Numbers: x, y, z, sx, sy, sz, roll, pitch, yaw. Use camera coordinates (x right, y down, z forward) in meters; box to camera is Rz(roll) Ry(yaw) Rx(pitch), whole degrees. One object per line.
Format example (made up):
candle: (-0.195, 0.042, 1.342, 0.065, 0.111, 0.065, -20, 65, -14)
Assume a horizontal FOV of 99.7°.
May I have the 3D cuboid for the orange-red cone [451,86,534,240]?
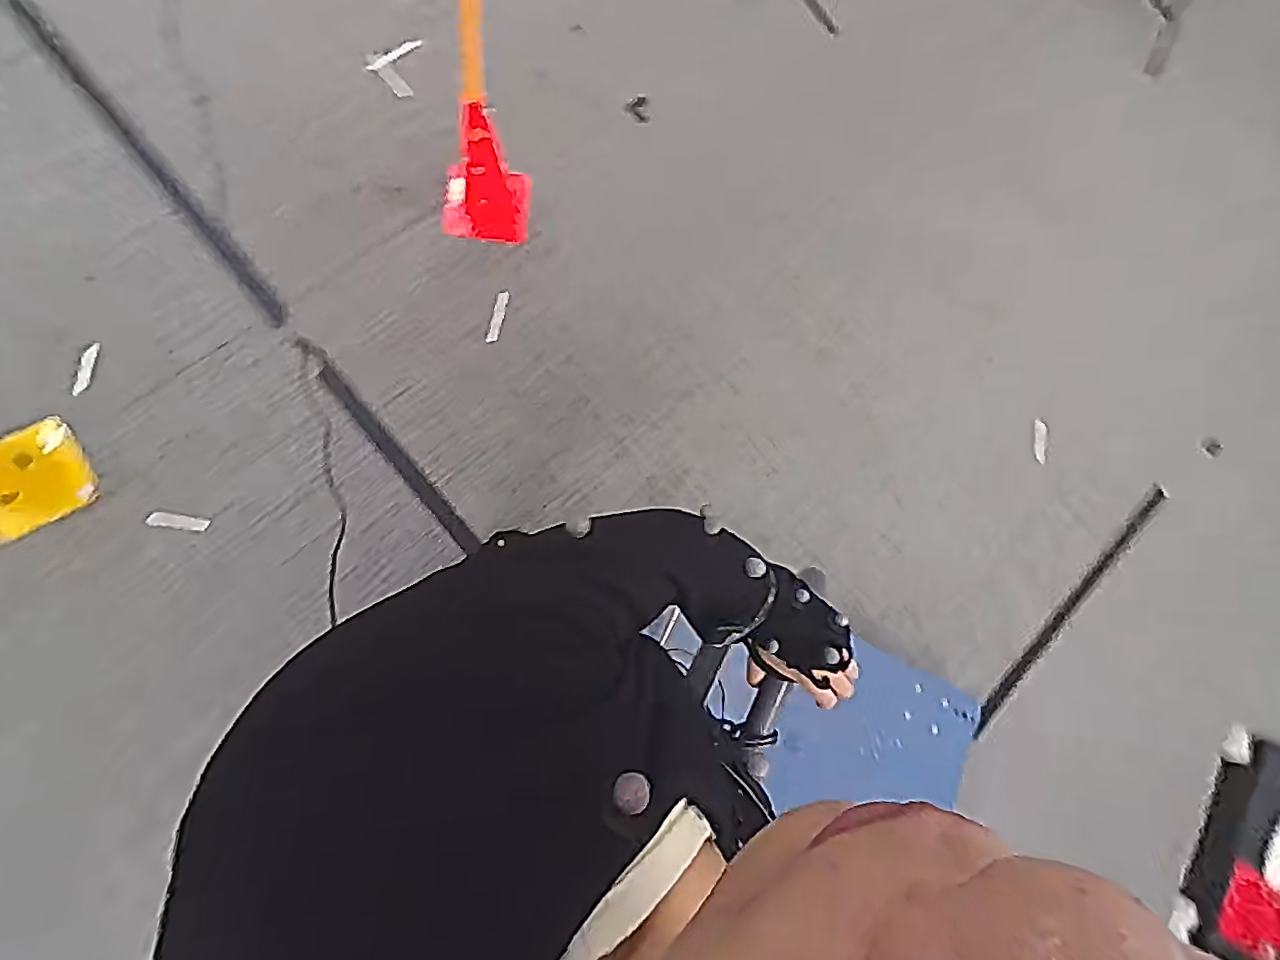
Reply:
orange-red cone: (-0.354, -0.749, 1.247, 0.198, 0.360, 0.199, 6, 83, -10)
